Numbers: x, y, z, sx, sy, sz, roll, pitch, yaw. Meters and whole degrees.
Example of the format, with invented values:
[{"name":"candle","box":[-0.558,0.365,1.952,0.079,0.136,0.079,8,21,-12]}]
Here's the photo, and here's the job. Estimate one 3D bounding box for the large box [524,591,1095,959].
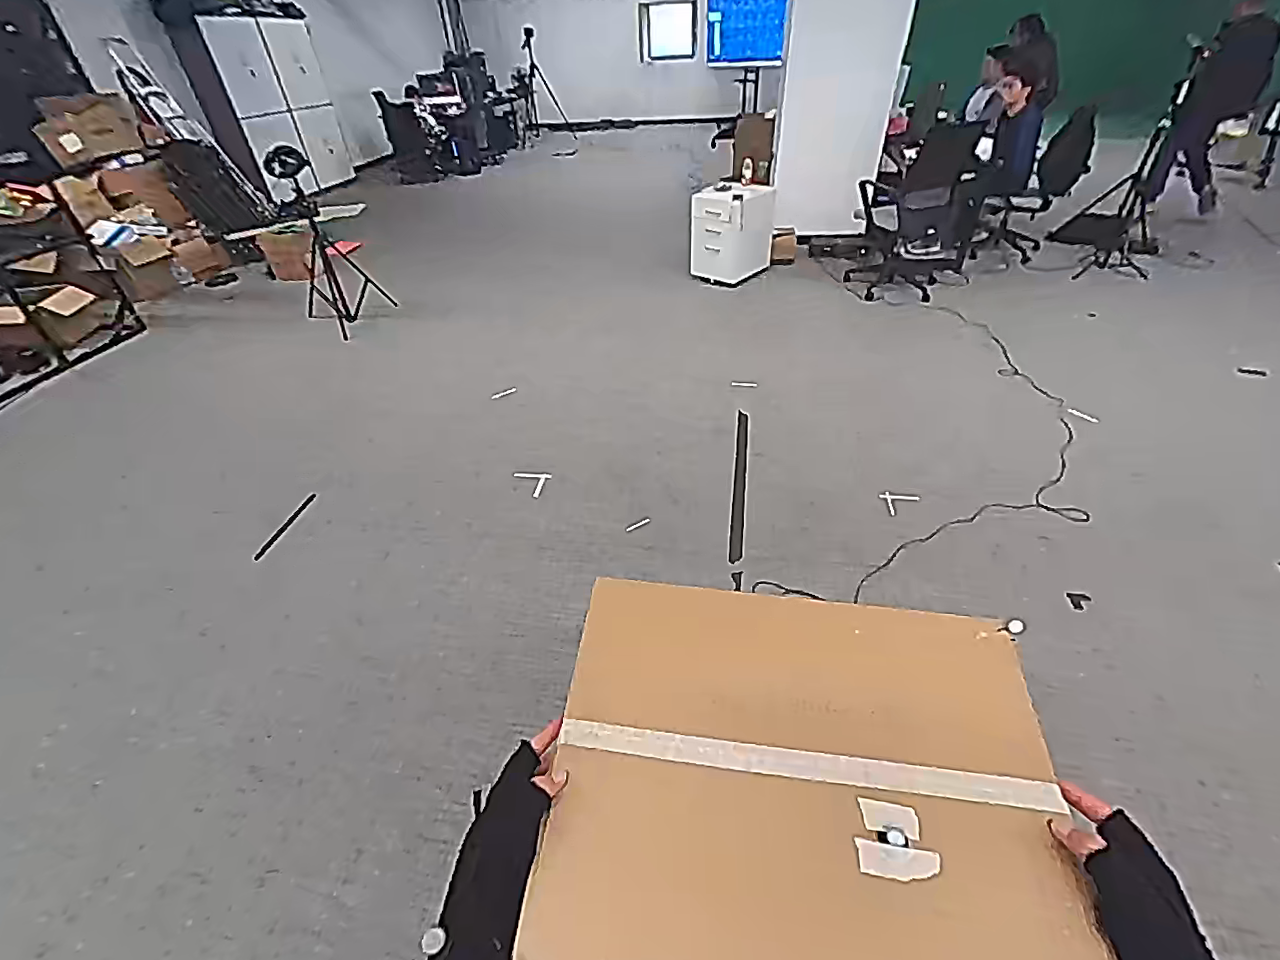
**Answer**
[{"name":"large box","box":[0.134,0.345,0.566,0.408,0.320,0.320,5,50,7]}]
